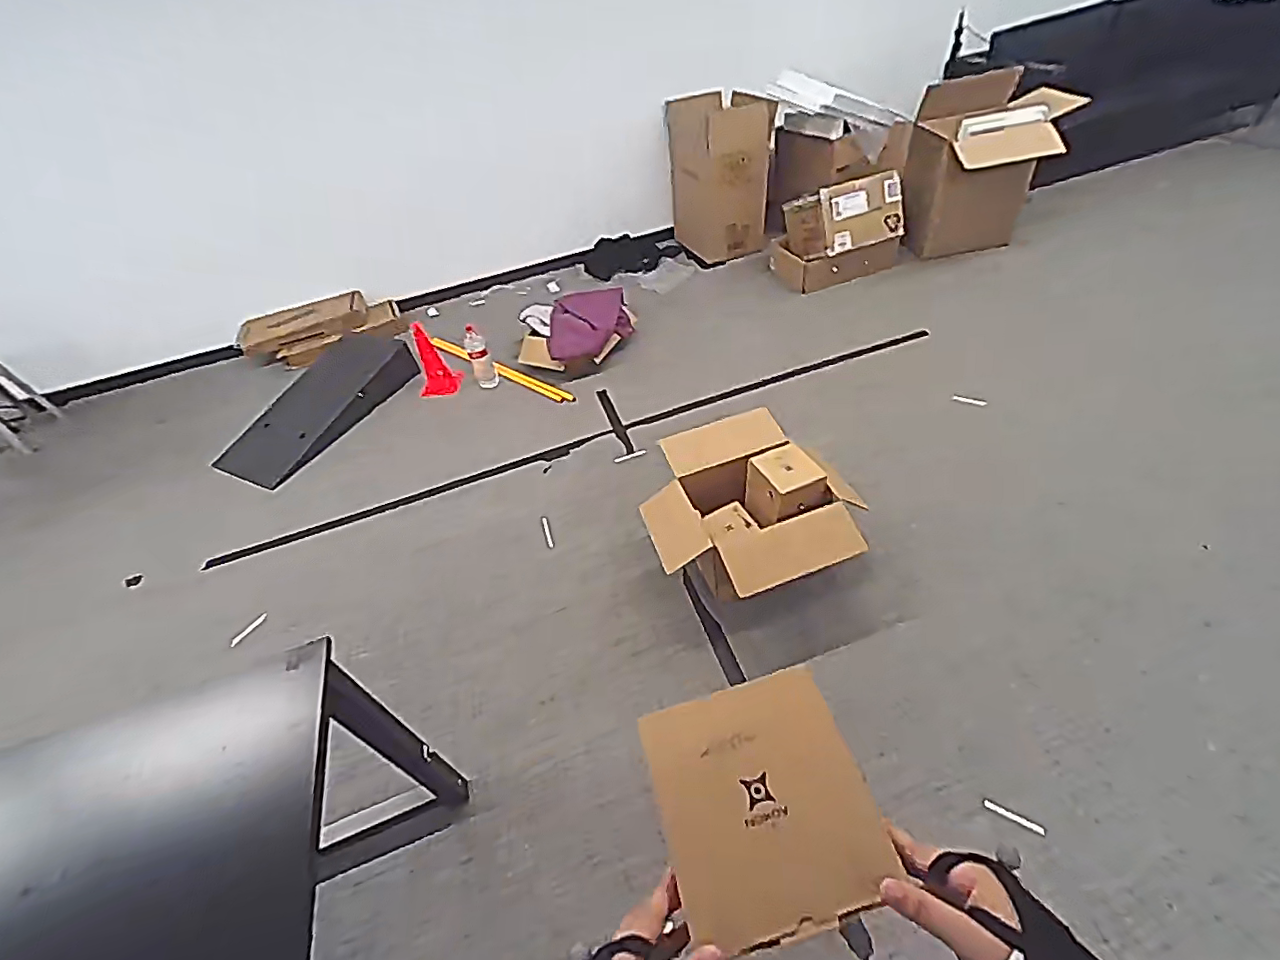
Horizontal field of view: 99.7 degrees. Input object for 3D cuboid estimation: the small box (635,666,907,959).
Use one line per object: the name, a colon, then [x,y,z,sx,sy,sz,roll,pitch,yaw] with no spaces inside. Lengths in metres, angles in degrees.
small box: [0.106,0.303,0.495,0.168,0.176,0.179,-17,50,-4]

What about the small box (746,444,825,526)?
small box: [0.445,0.023,1.680,0.168,0.176,0.179,-20,45,-15]
